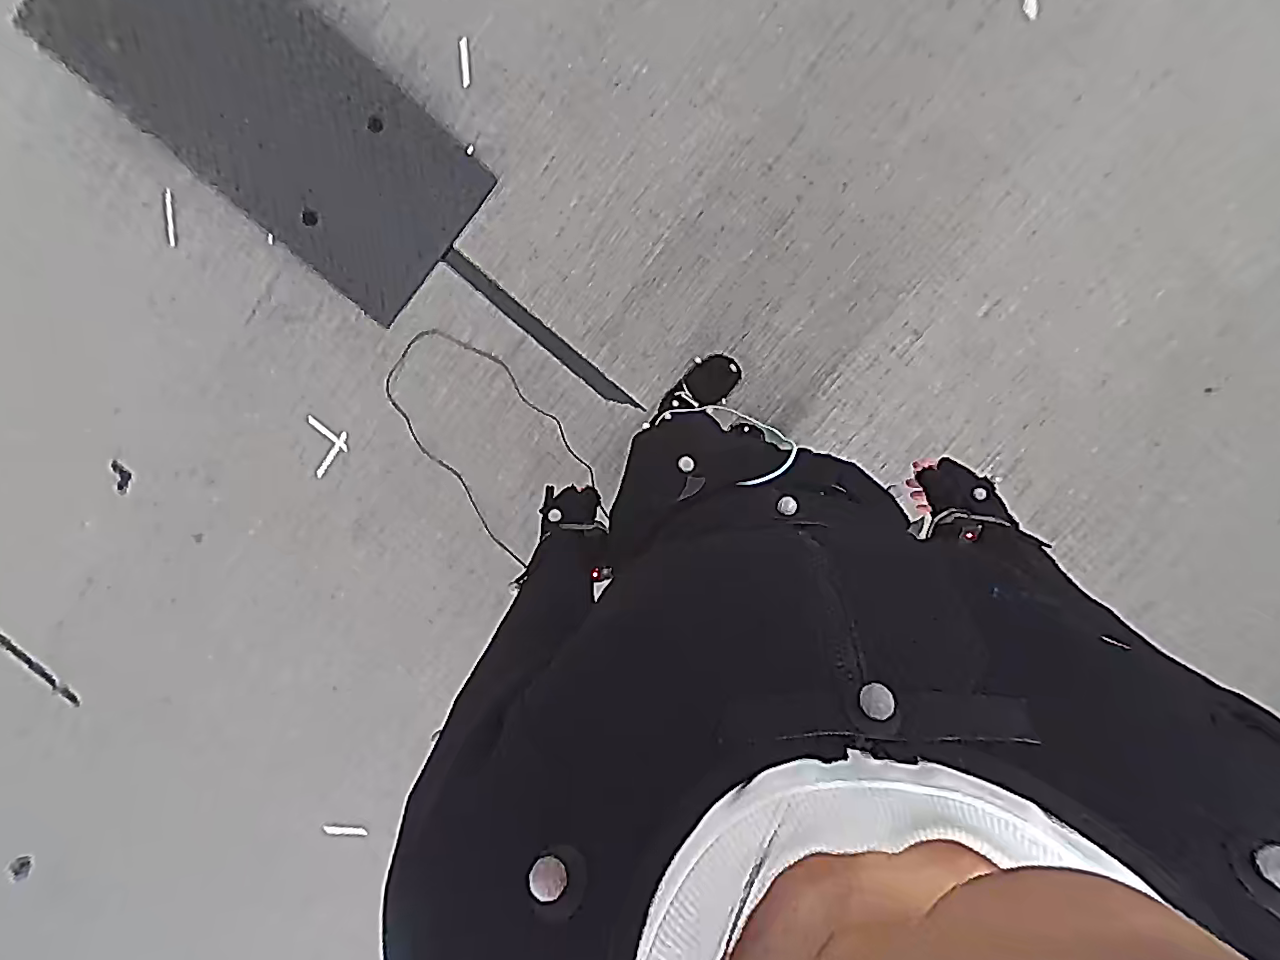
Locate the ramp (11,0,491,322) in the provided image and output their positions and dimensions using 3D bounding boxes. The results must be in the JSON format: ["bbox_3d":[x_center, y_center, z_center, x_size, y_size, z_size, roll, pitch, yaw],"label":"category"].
[{"bbox_3d":[-0.896,-0.907,1.300,0.991,0.206,0.509,40,99,-3],"label":"ramp"}]
